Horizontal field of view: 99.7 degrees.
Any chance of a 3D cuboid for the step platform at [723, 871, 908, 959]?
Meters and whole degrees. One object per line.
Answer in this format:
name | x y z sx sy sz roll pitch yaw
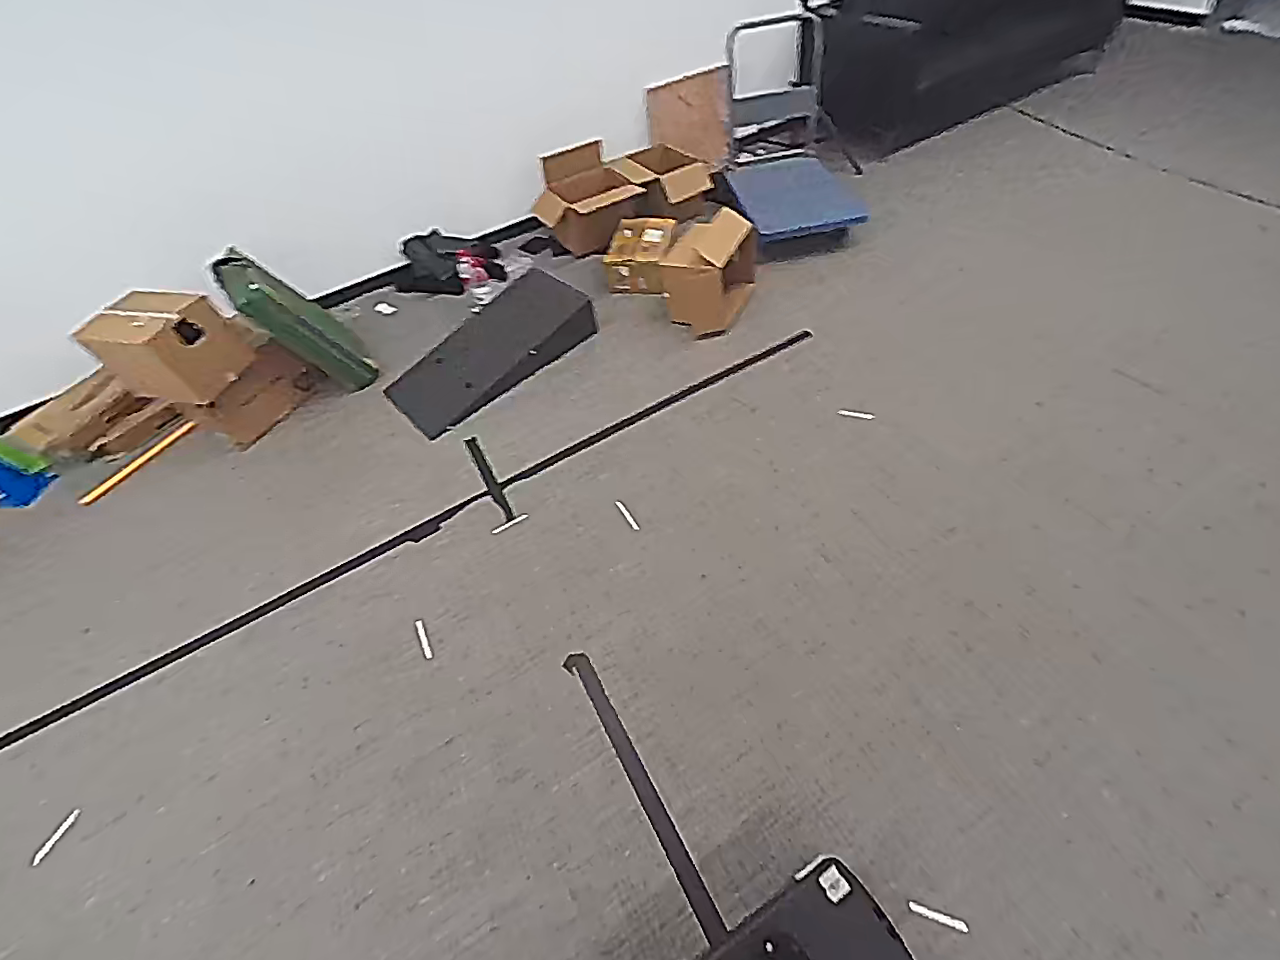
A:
step platform | 0.226 1.104 1.049 0.684 0.204 0.286 -28 53 -15
